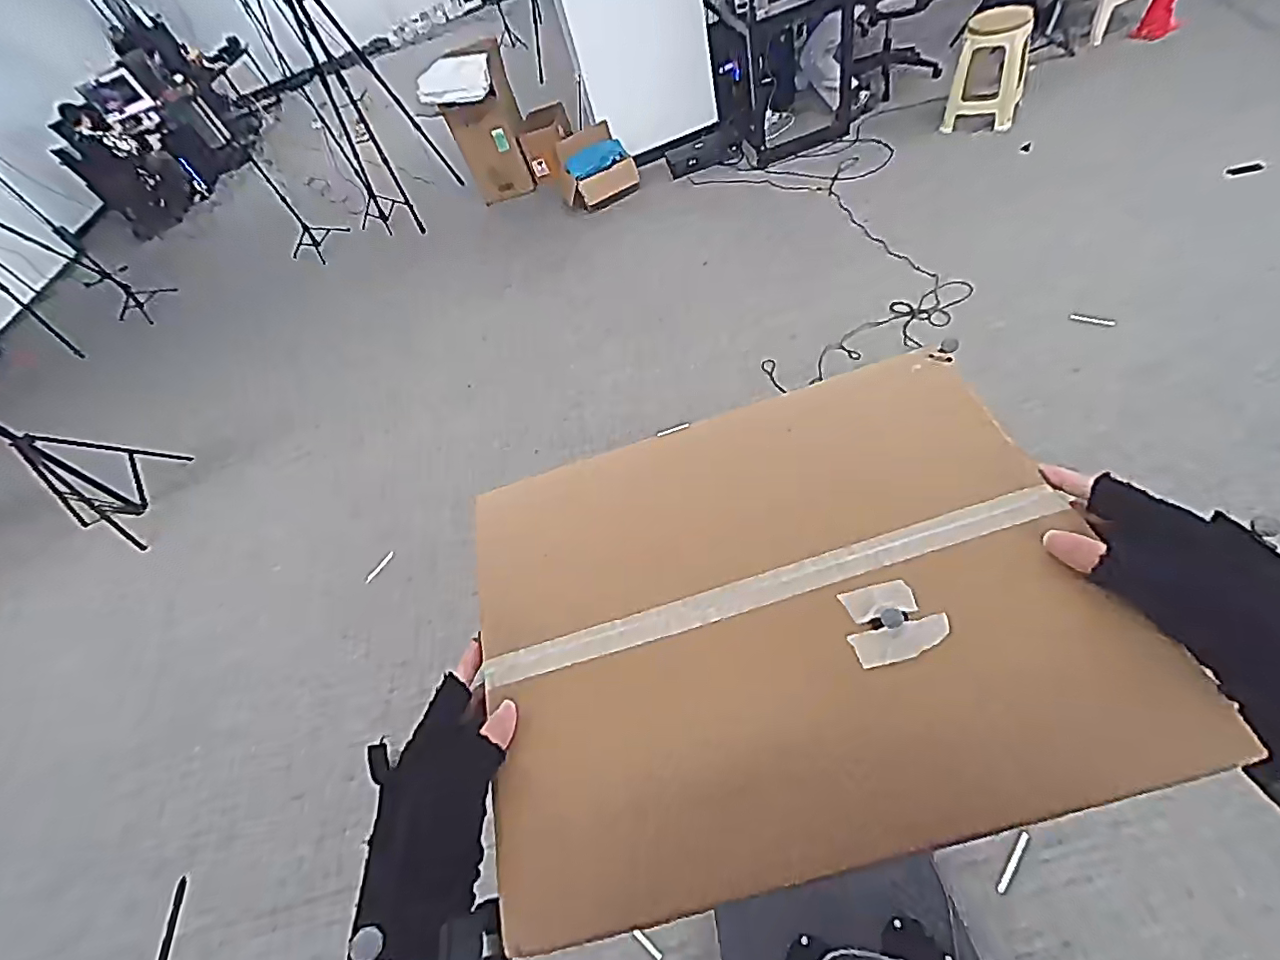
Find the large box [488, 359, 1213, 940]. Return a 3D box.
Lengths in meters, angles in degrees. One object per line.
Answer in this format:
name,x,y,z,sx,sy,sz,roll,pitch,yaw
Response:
large box,0.119,0.158,0.504,0.408,0.320,0.320,-18,56,3
